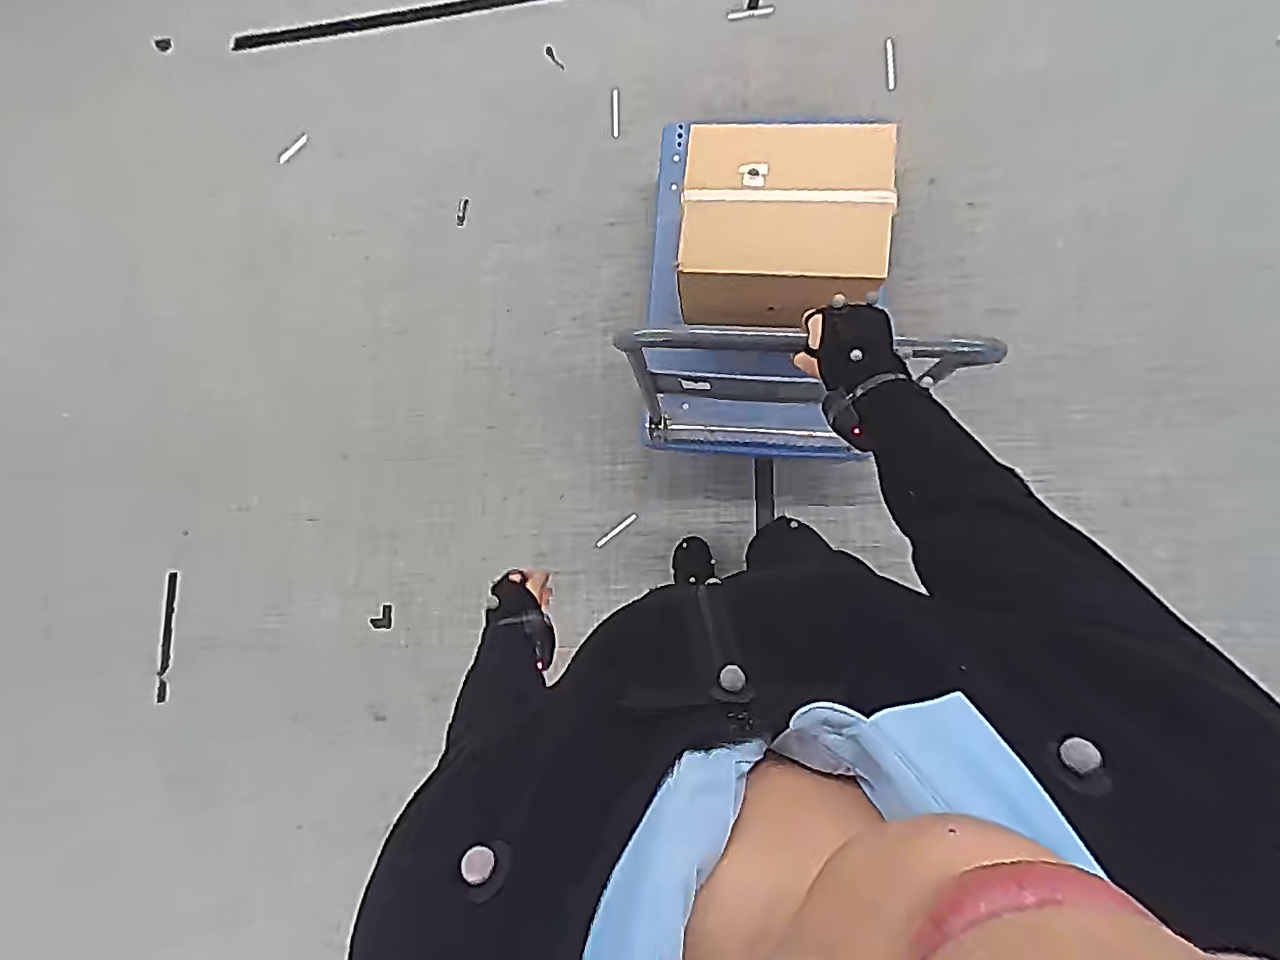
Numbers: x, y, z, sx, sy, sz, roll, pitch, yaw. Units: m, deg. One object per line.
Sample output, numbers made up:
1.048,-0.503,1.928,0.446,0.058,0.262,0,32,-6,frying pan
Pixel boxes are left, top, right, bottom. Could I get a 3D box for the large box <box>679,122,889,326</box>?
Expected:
0.309,-0.551,1.227,0.408,0.320,0.320,4,85,9,large box
